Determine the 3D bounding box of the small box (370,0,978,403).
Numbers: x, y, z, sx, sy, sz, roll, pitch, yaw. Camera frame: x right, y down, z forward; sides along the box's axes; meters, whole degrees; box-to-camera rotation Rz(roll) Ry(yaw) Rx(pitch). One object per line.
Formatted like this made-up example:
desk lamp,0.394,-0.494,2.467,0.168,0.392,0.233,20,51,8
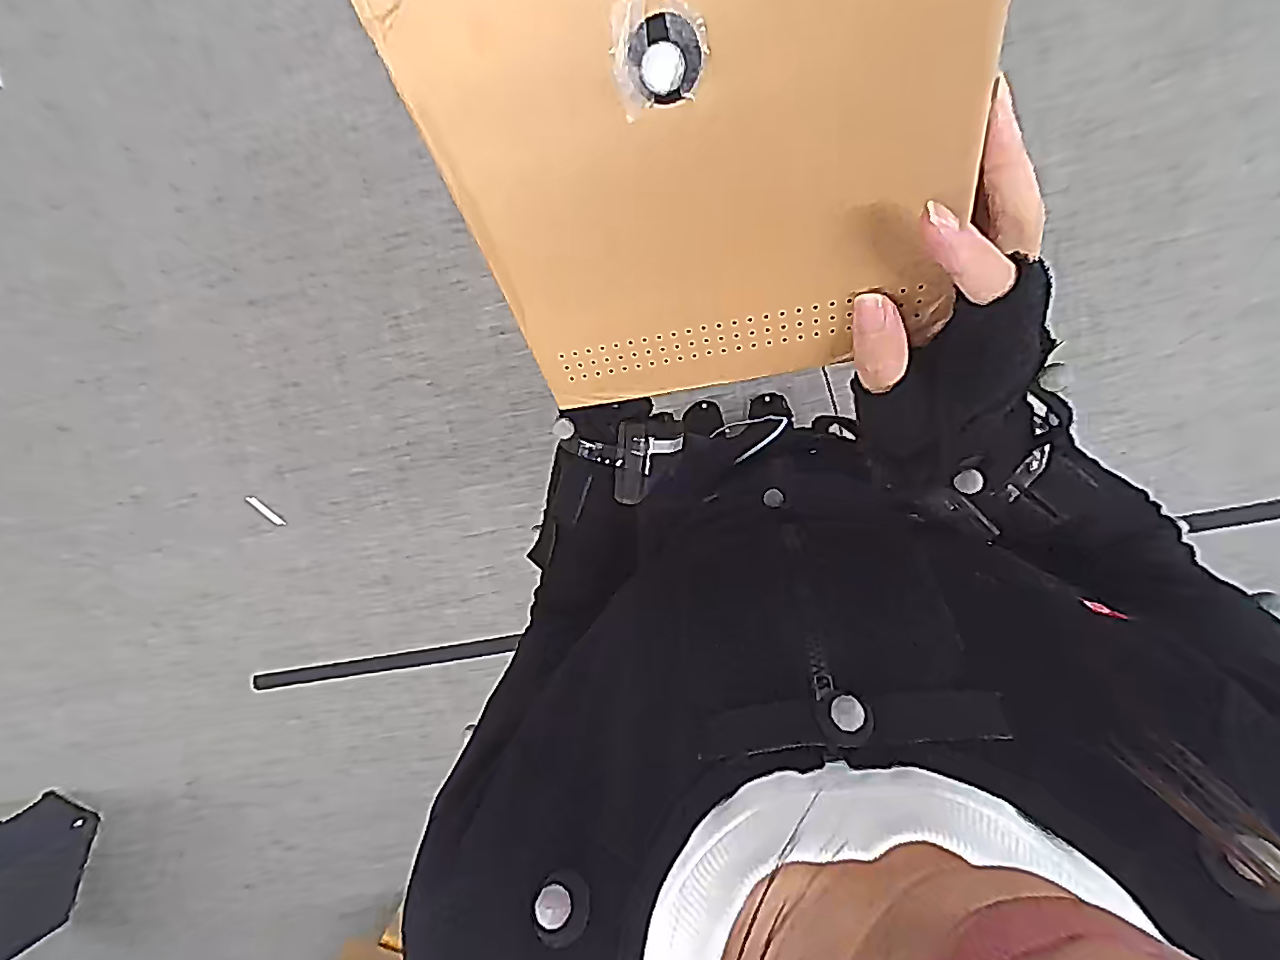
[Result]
small box,0.031,-0.153,0.243,0.179,0.168,0.176,-7,139,14
